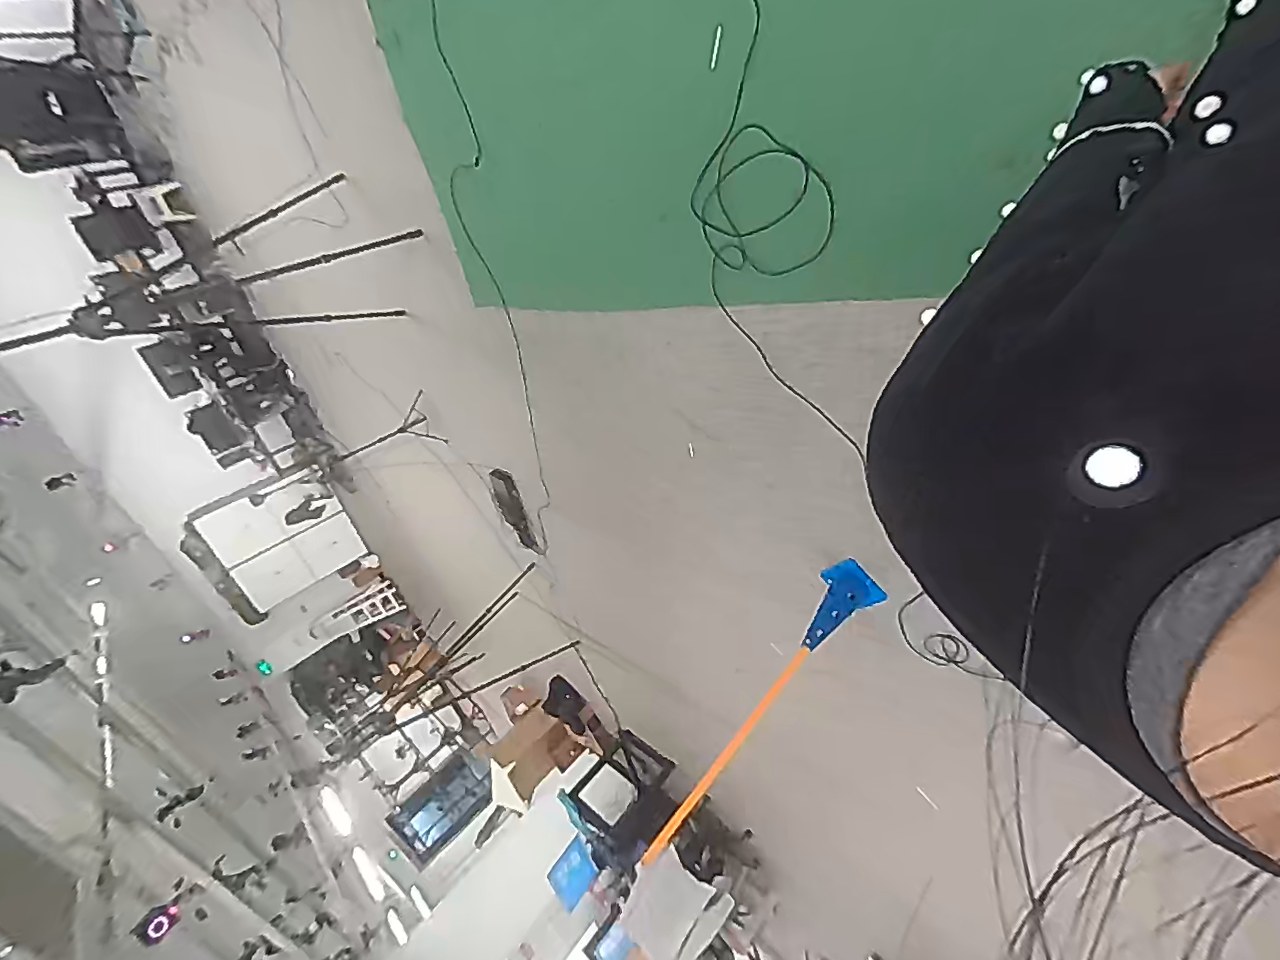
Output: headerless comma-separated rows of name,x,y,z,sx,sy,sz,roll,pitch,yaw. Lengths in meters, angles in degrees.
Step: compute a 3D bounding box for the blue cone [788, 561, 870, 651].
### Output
blue cone,0.662,0.491,1.983,0.192,0.380,0.193,47,148,7
